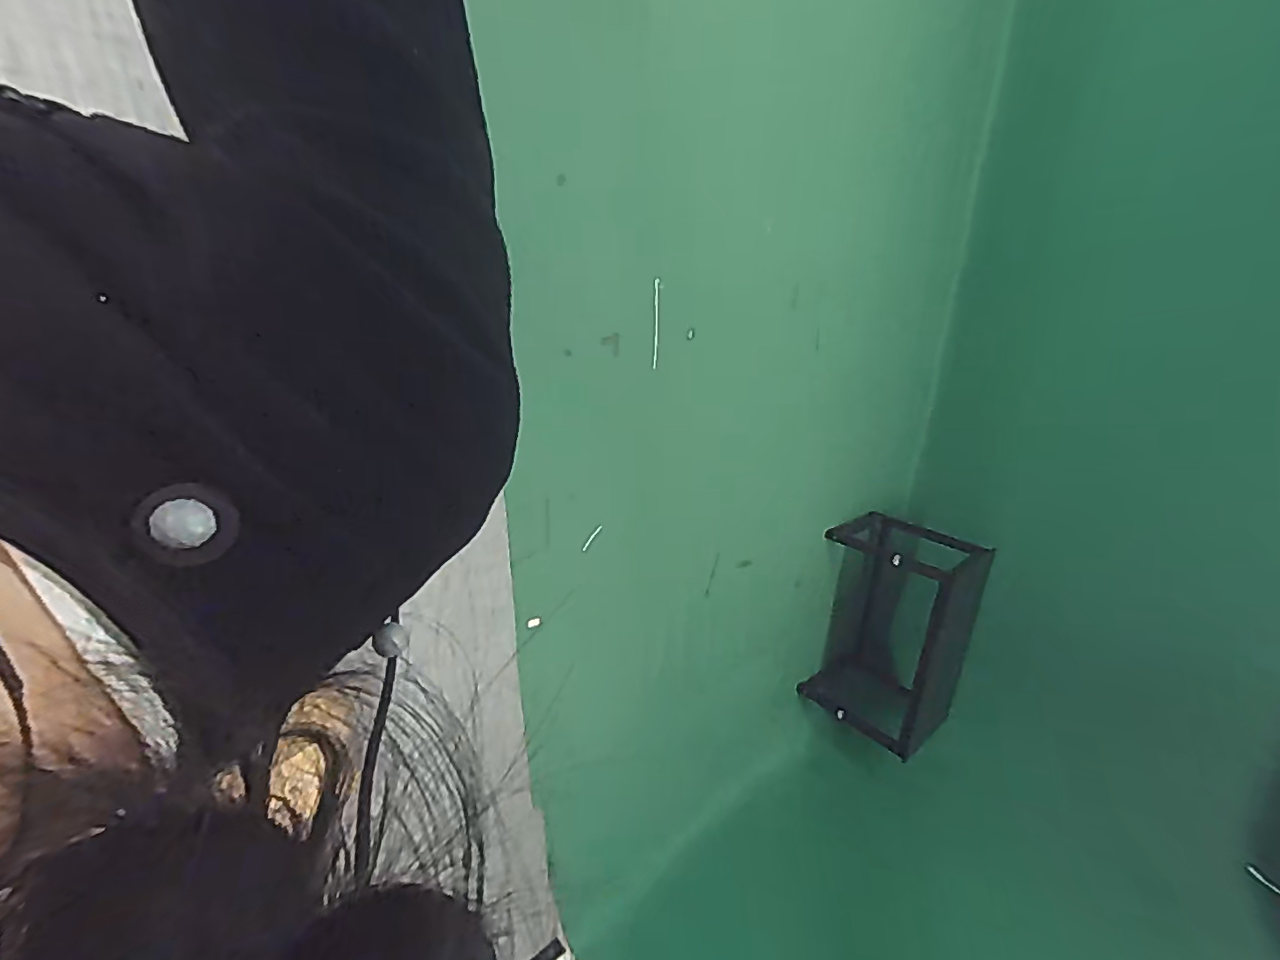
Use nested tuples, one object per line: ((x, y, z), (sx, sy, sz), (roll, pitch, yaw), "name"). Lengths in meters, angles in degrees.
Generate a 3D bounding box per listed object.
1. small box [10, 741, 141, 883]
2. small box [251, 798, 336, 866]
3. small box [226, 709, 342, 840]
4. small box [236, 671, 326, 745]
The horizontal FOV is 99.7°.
((-1.212, 0.701, 1.172), (0.168, 0.176, 0.179), (-12, 115, -39), "small box")
((-0.955, 0.887, 1.480), (0.179, 0.176, 0.168), (-9, 112, -40), "small box")
((-0.839, 0.684, 1.275), (0.168, 0.176, 0.179), (-30, 124, -31), "small box")
((-0.929, 0.624, 1.400), (0.168, 0.176, 0.179), (-10, 113, -38), "small box")
